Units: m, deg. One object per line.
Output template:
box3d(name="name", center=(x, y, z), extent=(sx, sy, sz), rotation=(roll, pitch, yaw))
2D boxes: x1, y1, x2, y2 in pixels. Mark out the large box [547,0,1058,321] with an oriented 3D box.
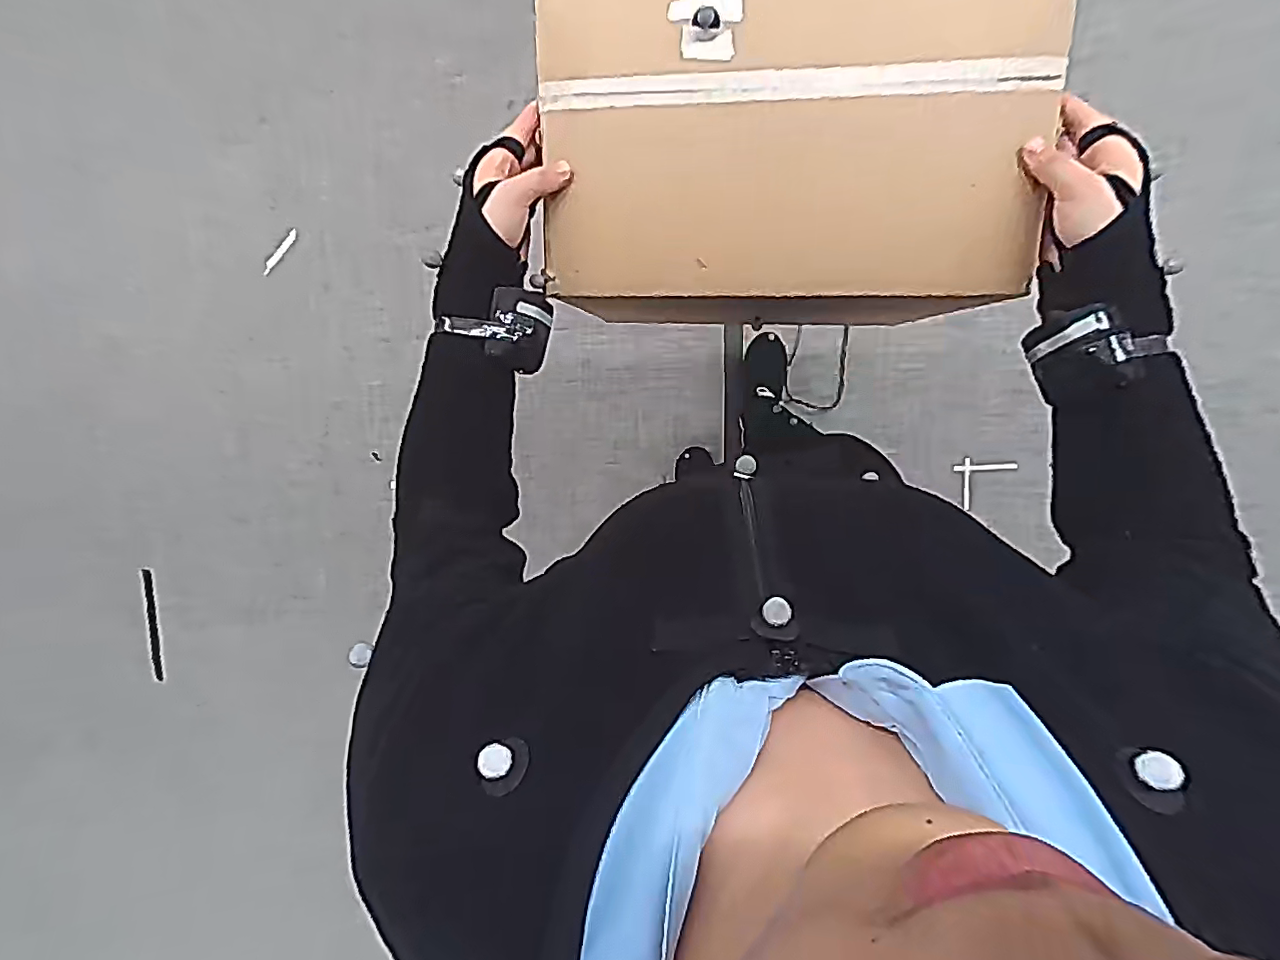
box3d(name="large box", center=(0.139, -0.346, 0.586), extent=(0.408, 0.320, 0.320), rotation=(1, 101, 7))
